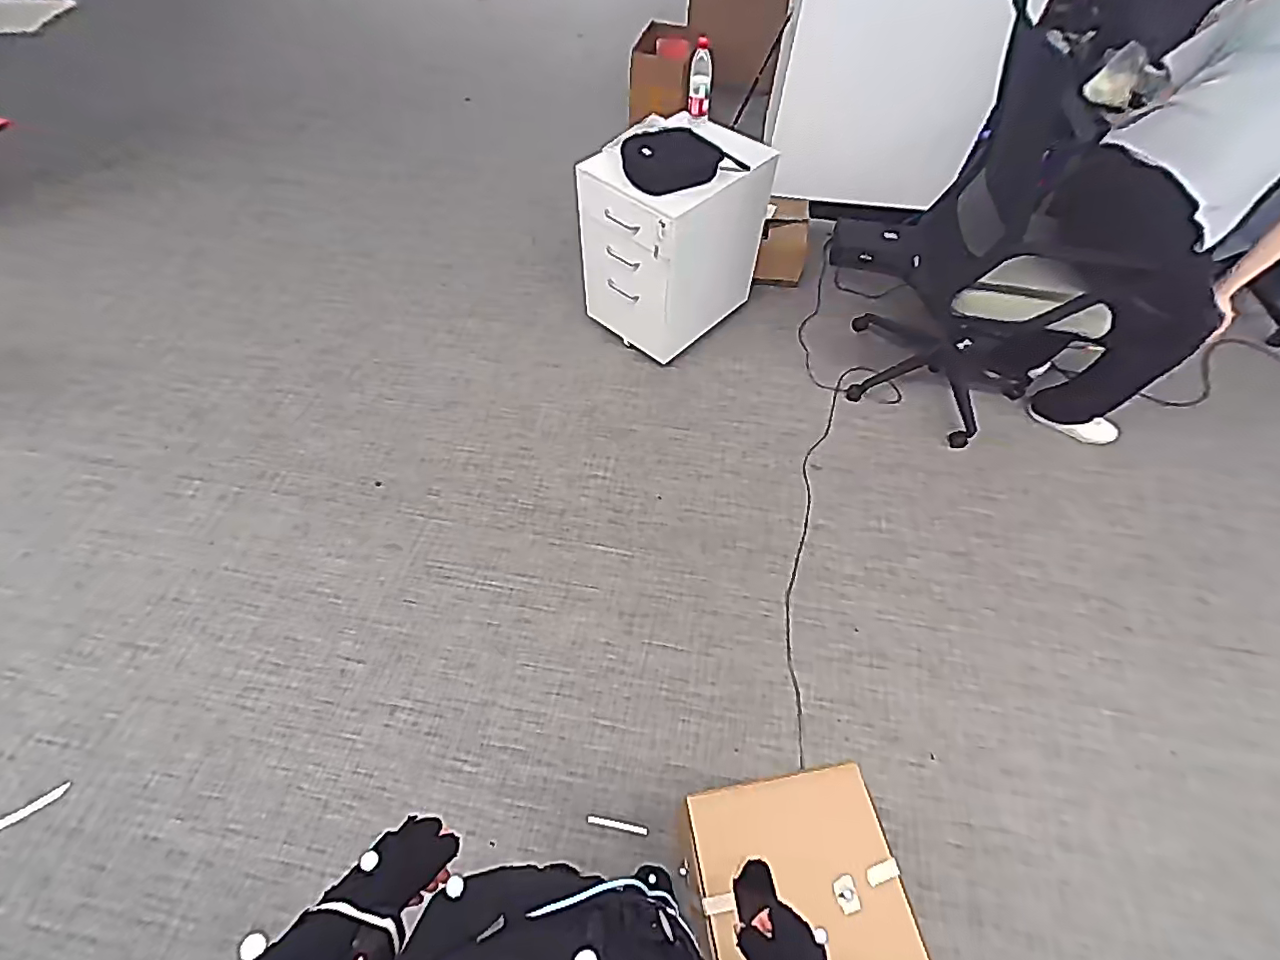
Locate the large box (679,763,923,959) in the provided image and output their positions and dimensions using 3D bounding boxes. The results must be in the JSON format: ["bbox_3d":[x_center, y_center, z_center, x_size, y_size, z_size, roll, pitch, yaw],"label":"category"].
[{"bbox_3d":[0.259,0.758,1.019,0.320,0.408,0.320,-9,55,-4],"label":"large box"}]
